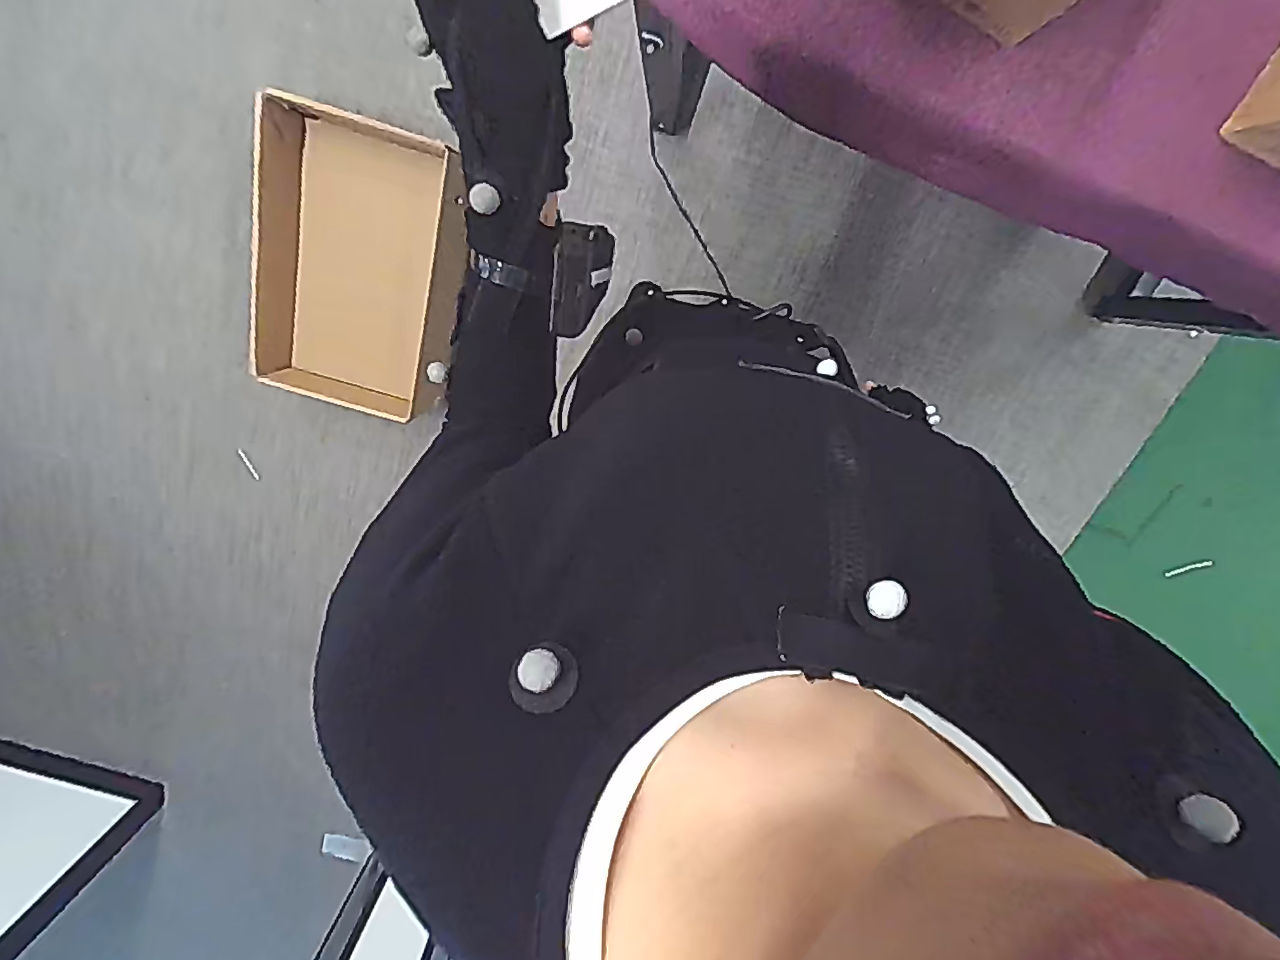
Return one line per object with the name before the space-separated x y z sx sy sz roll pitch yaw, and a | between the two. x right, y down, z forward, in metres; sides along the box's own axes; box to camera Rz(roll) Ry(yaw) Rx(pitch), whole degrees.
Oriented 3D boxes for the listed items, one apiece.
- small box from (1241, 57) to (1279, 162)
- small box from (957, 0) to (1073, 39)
small box | 0.711 -0.370 0.471 0.168 0.176 0.179 24 111 -5
small box | 0.344 -0.516 0.437 0.168 0.176 0.179 28 109 -7
